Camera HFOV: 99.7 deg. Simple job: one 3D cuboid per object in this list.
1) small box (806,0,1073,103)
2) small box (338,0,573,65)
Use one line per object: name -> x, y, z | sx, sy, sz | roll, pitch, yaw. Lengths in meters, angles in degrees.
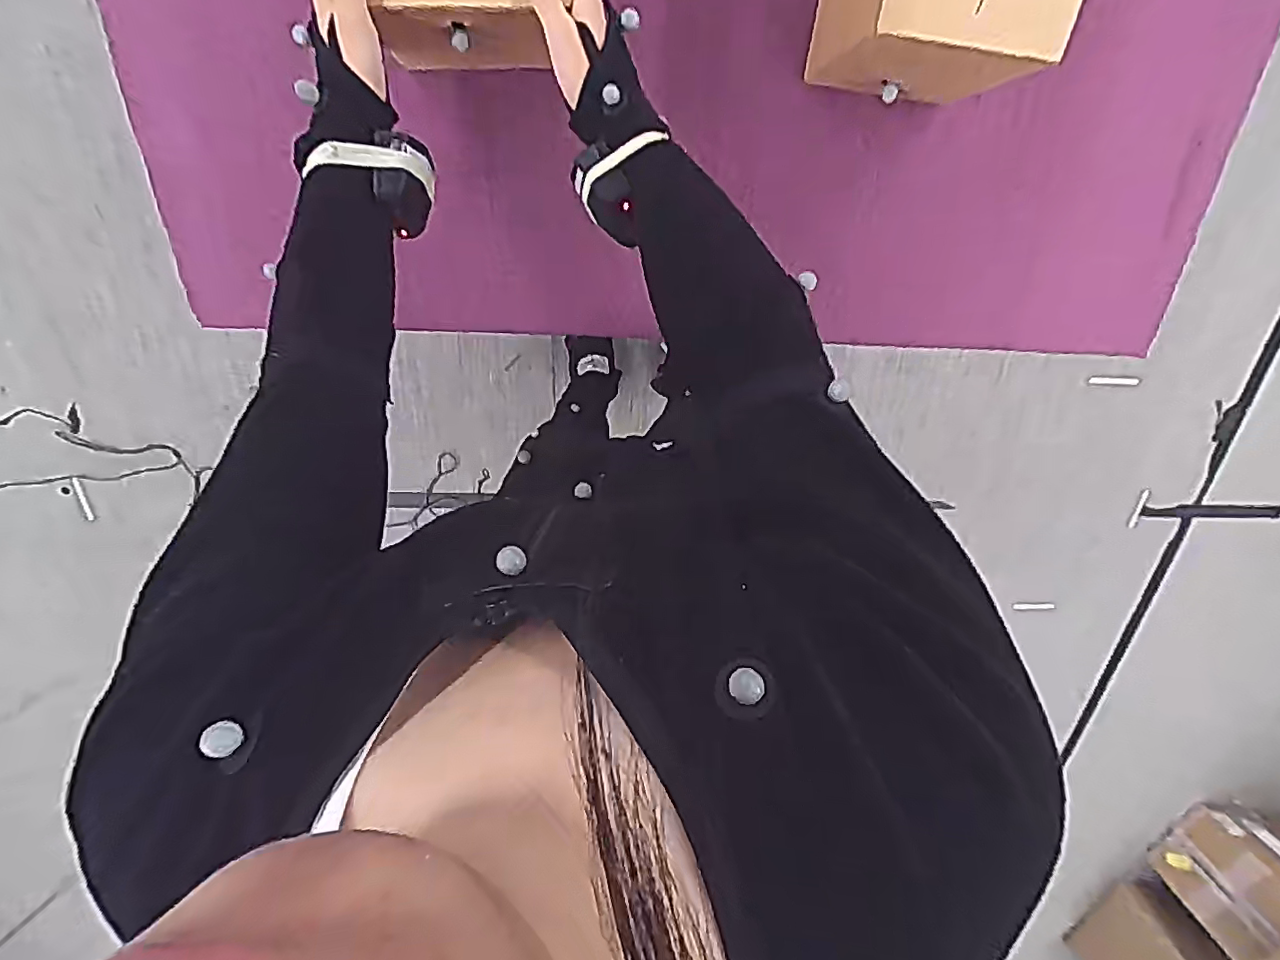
small box -> 0.267, -0.467, 0.481 | 0.168, 0.176, 0.179 | 4, 115, -7
small box -> -0.146, -0.465, 0.446 | 0.179, 0.176, 0.168 | -3, 115, -3
